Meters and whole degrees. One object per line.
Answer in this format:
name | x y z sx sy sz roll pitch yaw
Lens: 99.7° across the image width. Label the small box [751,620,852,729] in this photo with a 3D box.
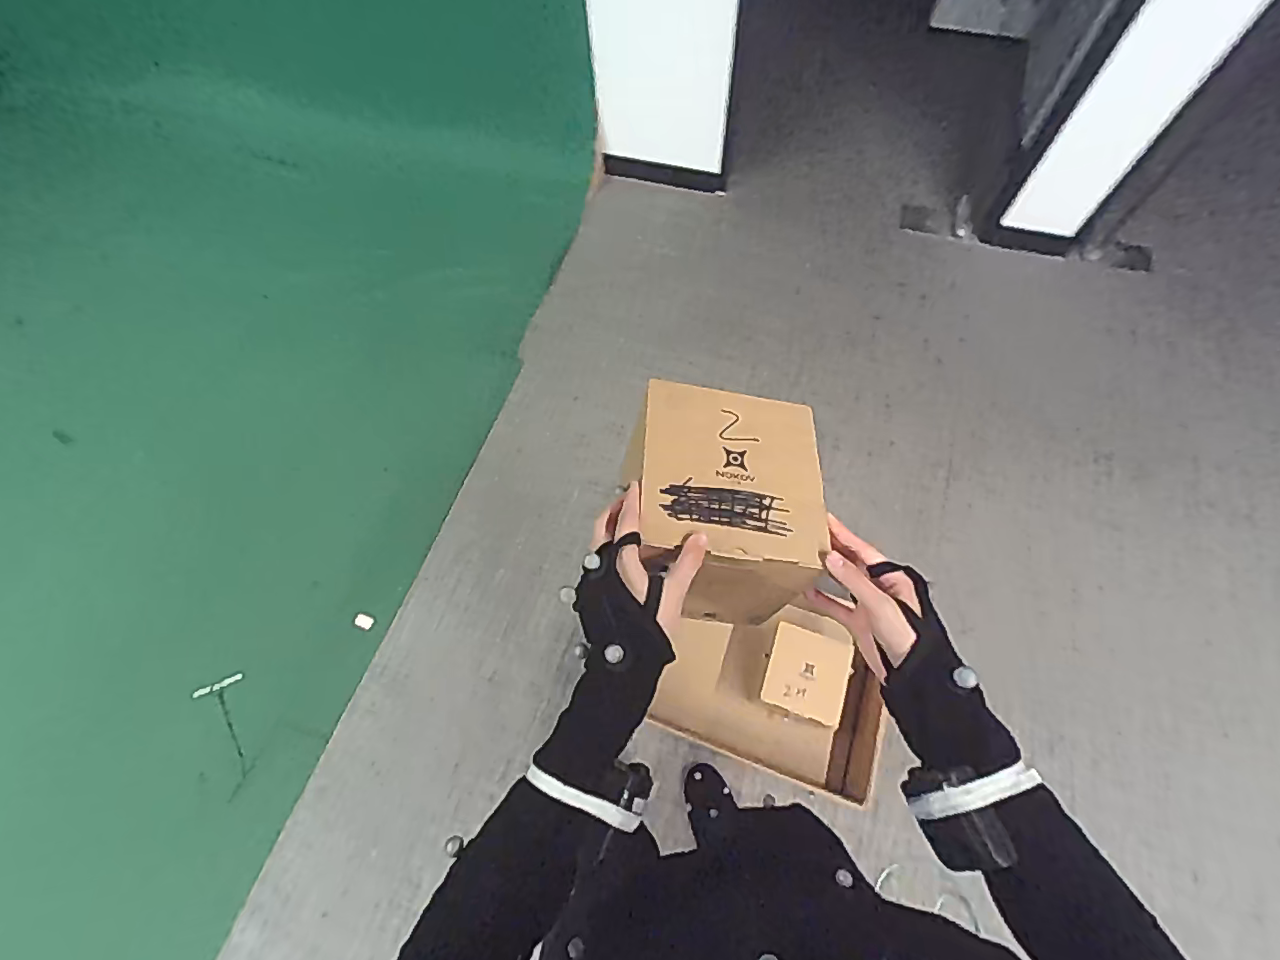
small box | 0.355 0.439 1.215 0.168 0.176 0.179 18 68 12
